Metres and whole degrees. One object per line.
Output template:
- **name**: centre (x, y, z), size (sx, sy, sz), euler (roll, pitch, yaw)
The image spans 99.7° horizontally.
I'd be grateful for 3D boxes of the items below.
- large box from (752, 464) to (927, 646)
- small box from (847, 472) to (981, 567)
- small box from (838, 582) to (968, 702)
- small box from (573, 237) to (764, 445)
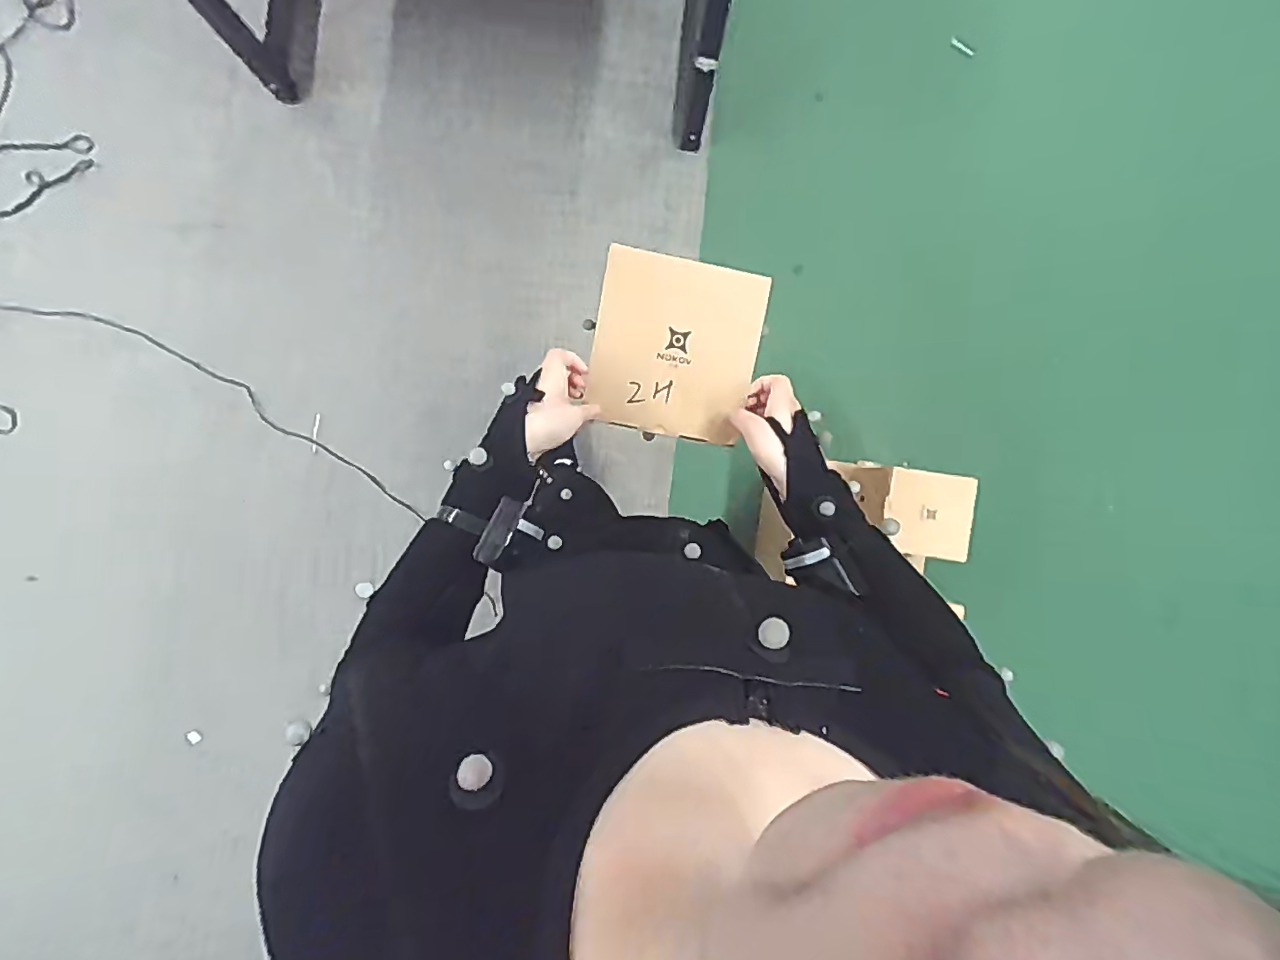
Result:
- **large box**: centre (0.485, 0.176, 1.354), size (0.320, 0.320, 0.408), euler (8, 90, -1)
- **small box**: centre (0.556, 0.075, 1.114), size (0.179, 0.176, 0.168), euler (8, 90, -1)
- **small box**: centre (0.526, 0.322, 1.108), size (0.168, 0.176, 0.179), euler (13, 89, -2)
- **small box**: centre (0.023, -0.145, 0.609), size (0.168, 0.176, 0.179), euler (10, 98, -4)
